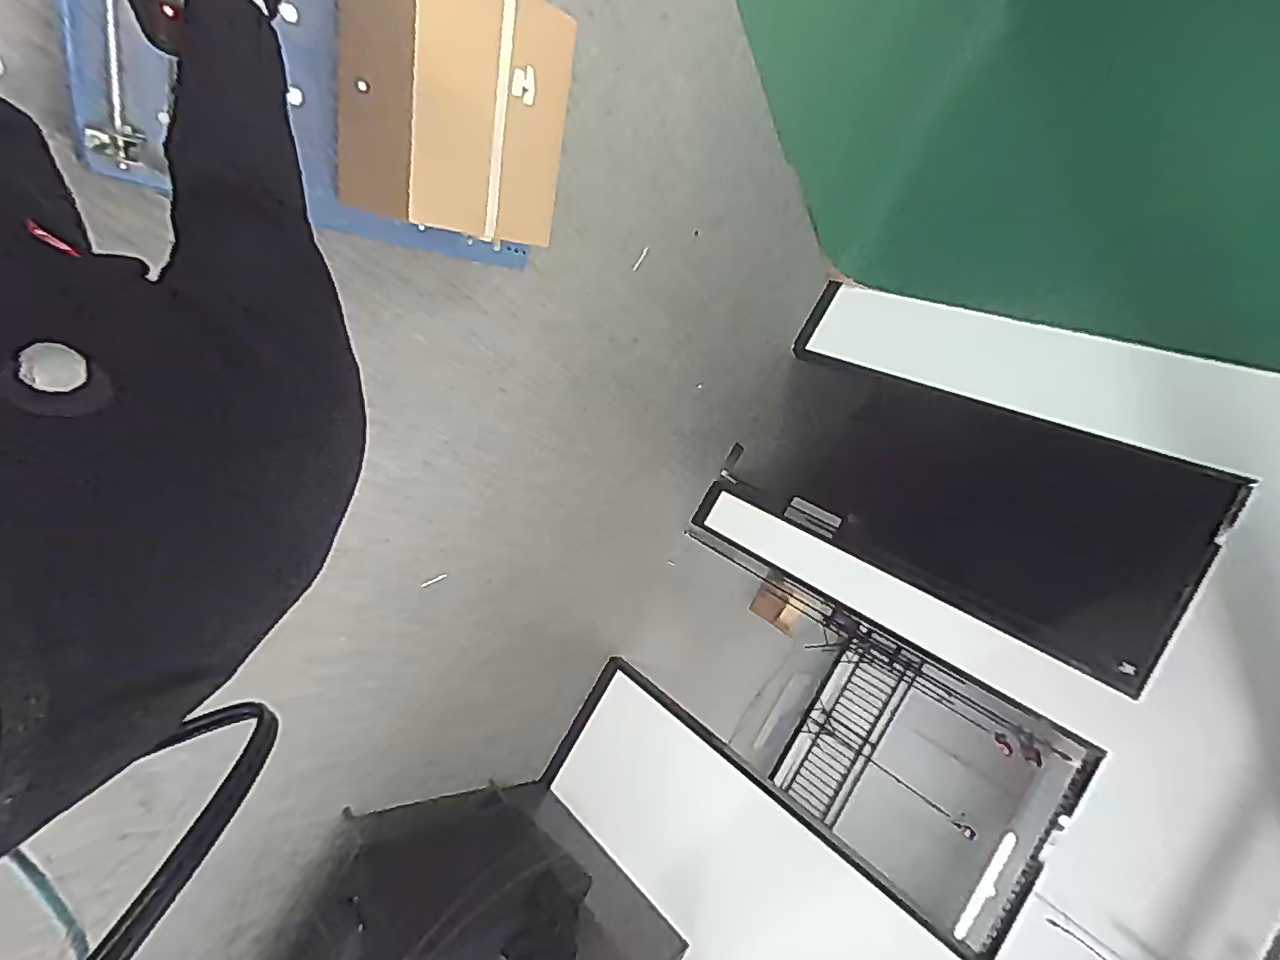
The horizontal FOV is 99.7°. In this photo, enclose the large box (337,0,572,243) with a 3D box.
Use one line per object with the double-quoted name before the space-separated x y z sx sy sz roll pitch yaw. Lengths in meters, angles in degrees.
"large box" -0.370 -0.715 1.058 0.320 0.320 0.408 -15 124 -47
